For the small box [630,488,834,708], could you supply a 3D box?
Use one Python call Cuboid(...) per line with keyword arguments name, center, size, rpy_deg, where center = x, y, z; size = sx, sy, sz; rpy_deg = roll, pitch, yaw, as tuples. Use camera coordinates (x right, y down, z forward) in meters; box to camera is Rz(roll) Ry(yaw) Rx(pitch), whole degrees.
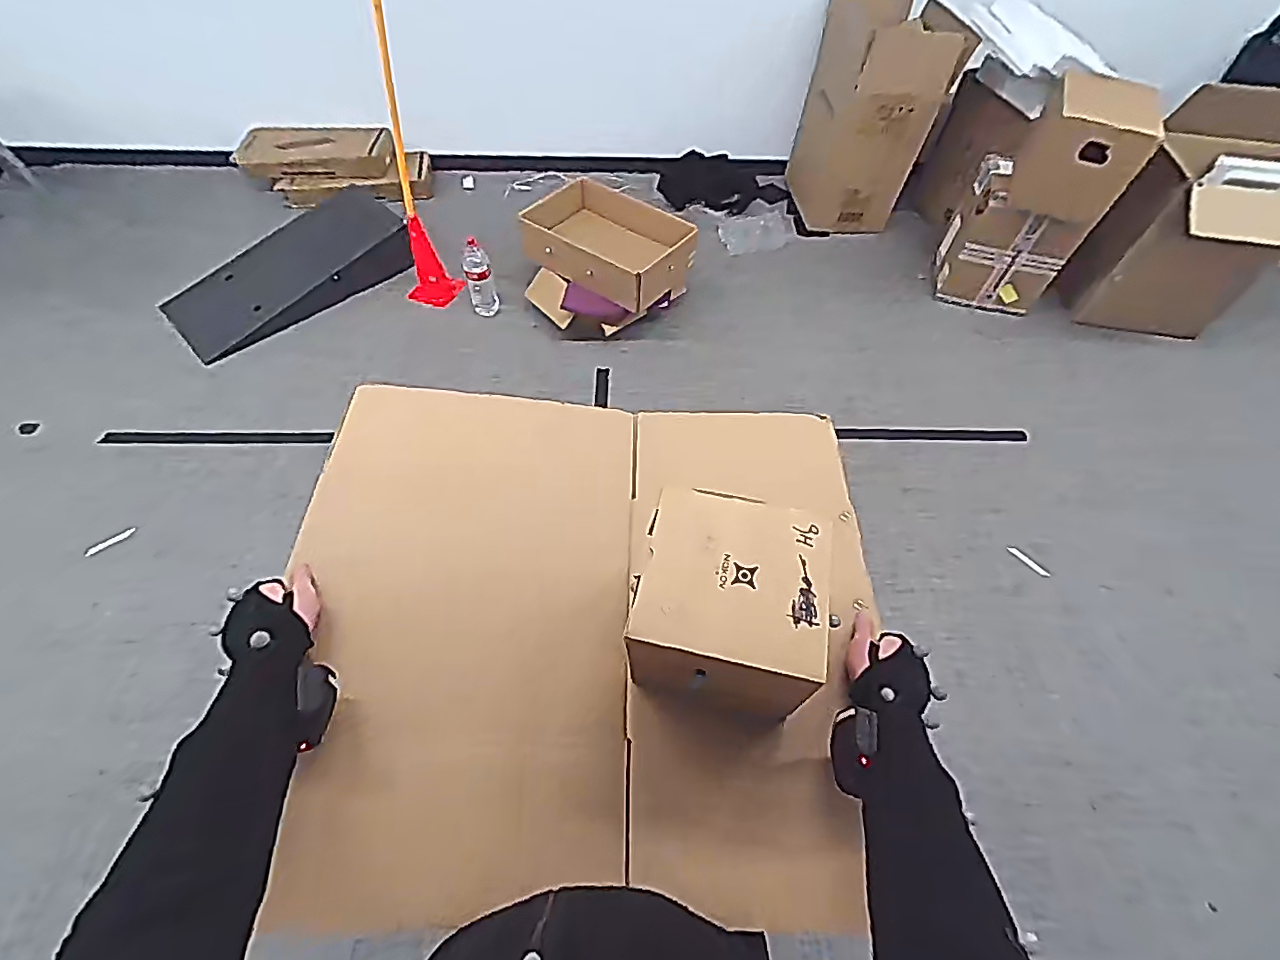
Cuboid(name="small box", center=(0.097, 0.132, 0.581), size=(0.179, 0.176, 0.168), rpy_deg=(10, 58, 9))
